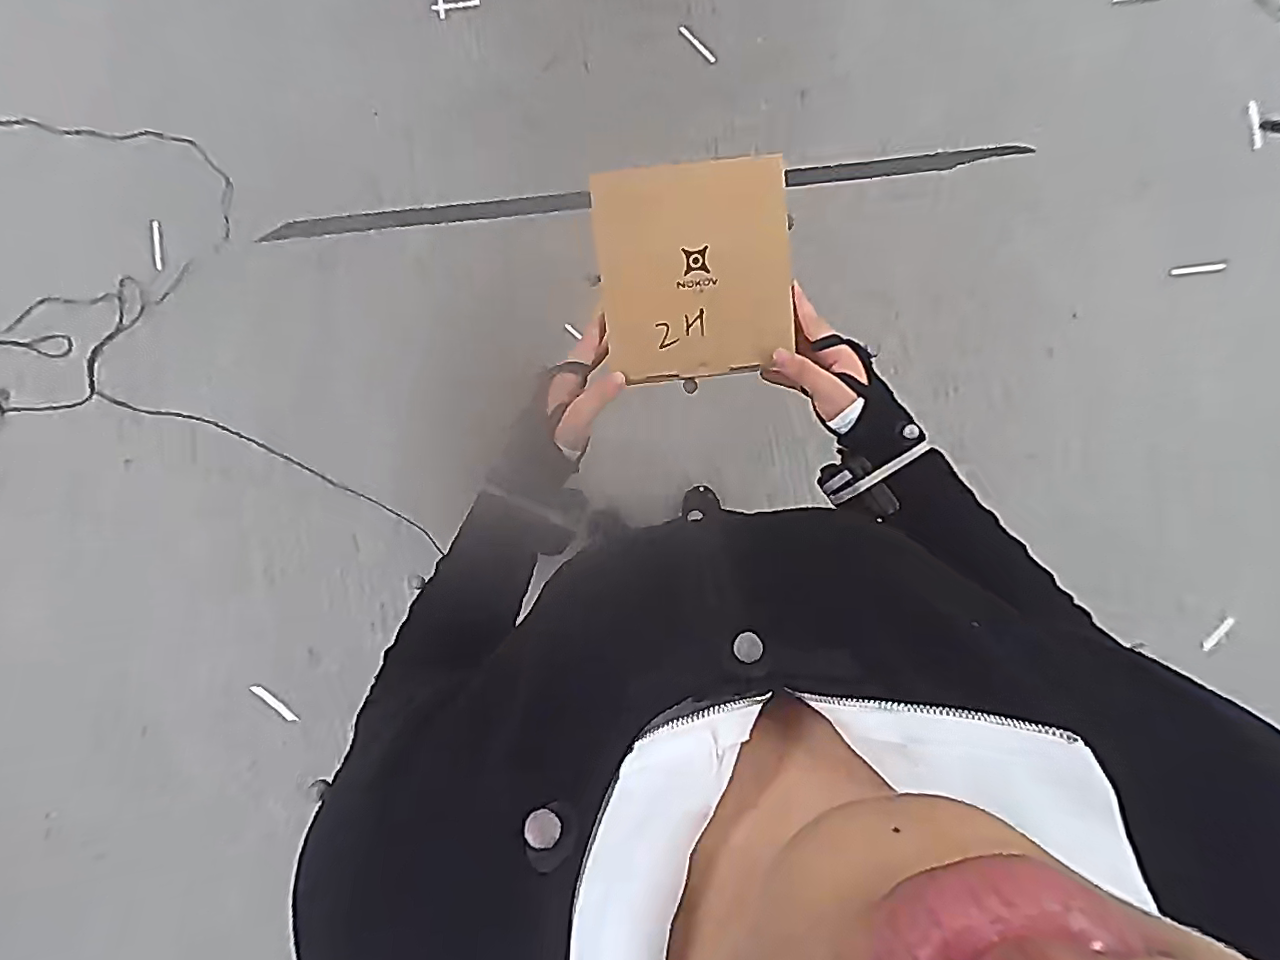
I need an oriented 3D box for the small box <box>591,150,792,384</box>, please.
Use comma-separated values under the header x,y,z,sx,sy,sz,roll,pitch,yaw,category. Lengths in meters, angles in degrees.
x,y,z,sx,sy,sz,roll,pitch,yaw,category
0.044,-0.195,0.545,0.168,0.176,0.179,-6,98,1,small box
